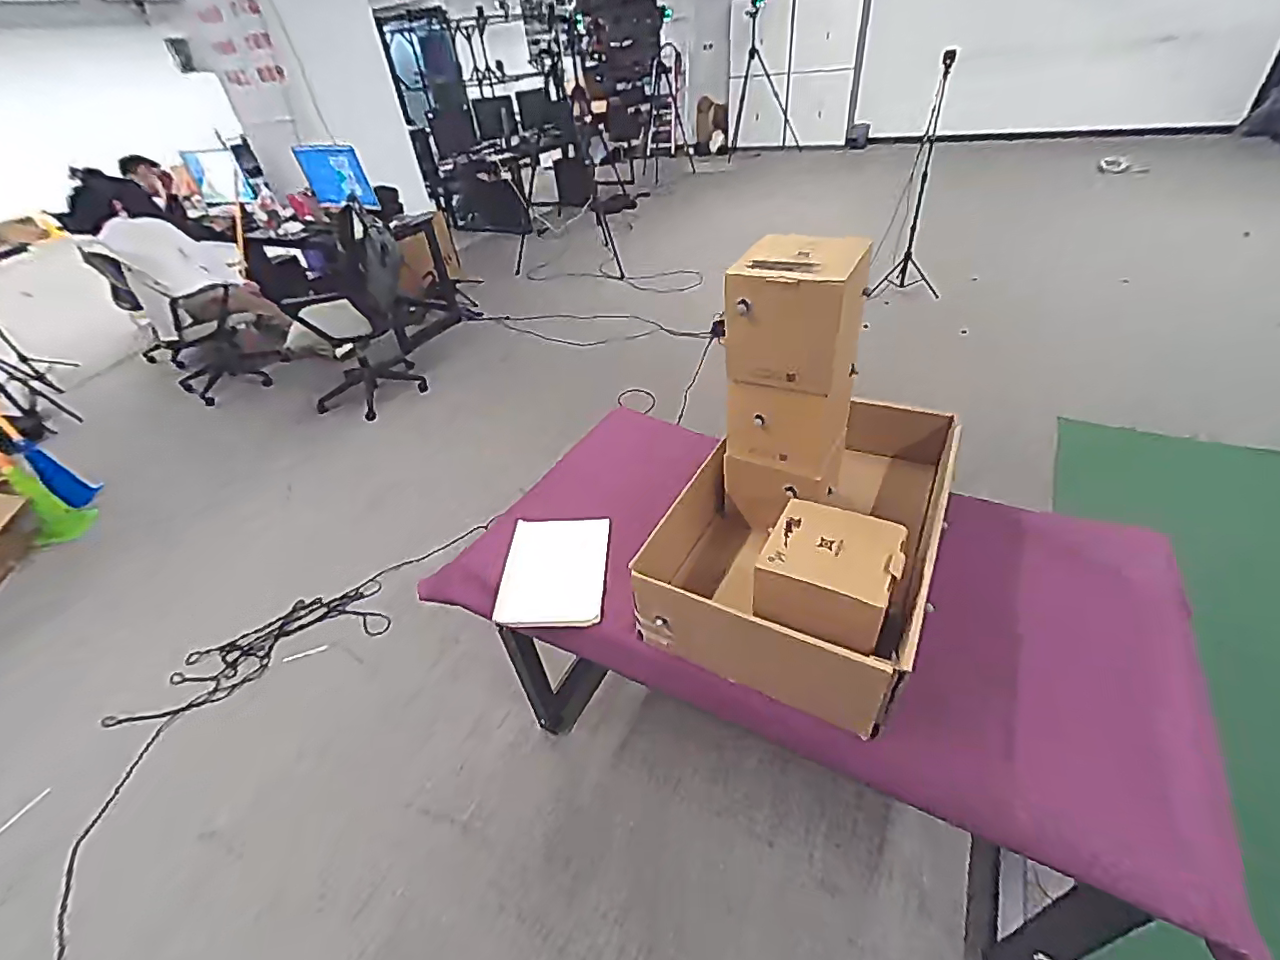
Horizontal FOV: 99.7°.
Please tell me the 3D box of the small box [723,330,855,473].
[{"bbox_3d":[0.256,-0.136,0.933,0.168,0.176,0.179,17,46,27],"label":"small box"}]
